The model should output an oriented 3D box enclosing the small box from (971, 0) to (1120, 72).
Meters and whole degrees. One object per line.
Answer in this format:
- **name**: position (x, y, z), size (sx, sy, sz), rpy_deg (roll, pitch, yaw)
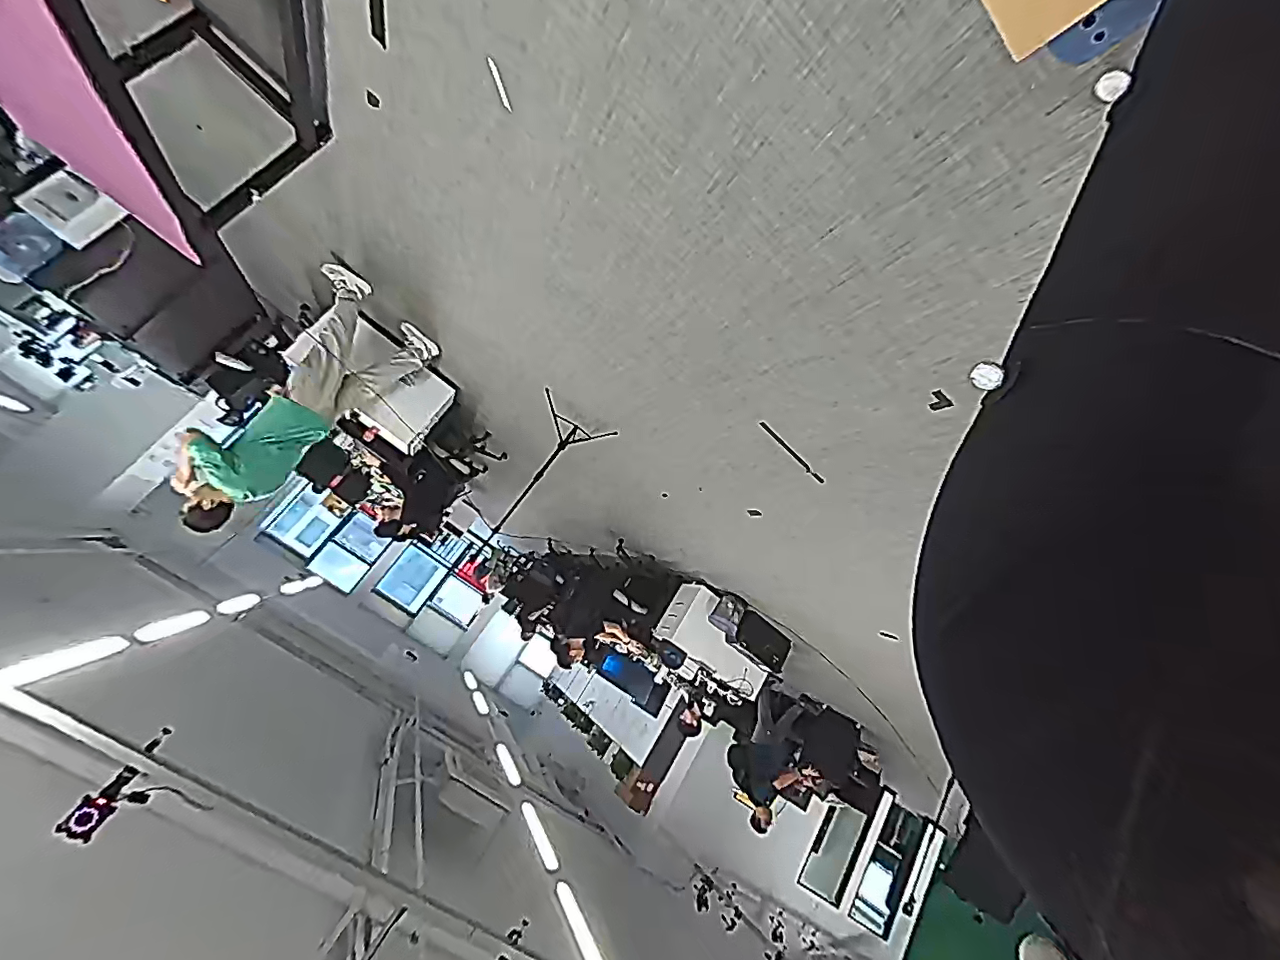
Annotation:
- **small box**: position (0.467, -0.601, 0.566), size (0.168, 0.176, 0.179), rpy_deg (42, 160, -18)
